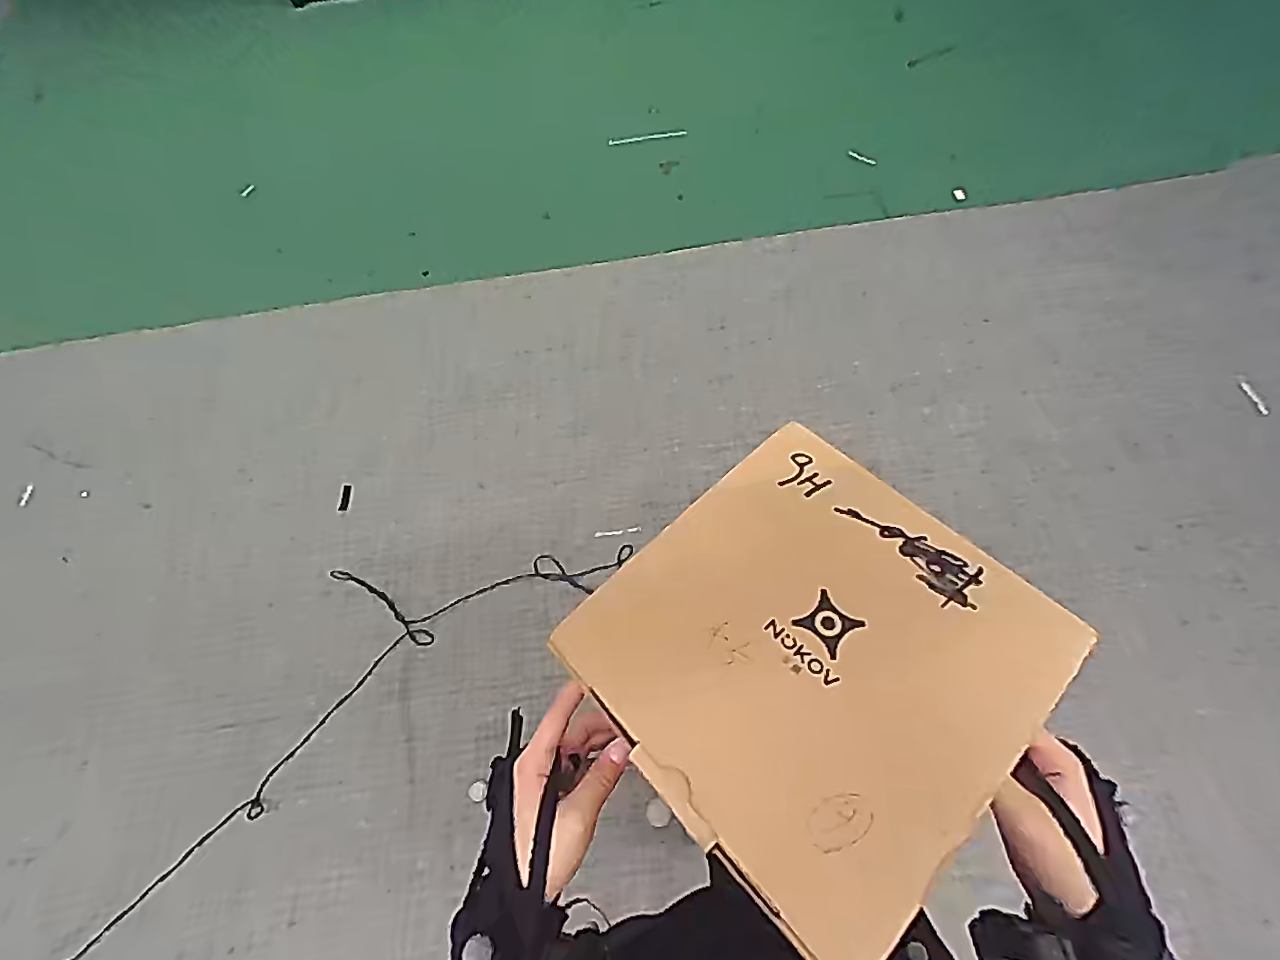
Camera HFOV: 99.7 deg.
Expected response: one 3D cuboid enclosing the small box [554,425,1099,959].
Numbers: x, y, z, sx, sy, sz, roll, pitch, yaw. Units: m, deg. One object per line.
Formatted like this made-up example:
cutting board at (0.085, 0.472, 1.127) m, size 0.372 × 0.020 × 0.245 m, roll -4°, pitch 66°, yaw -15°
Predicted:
small box at (0.083, 0.111, 0.303) m, size 0.179 × 0.176 × 0.168 m, roll -39°, pitch 63°, yaw -17°
